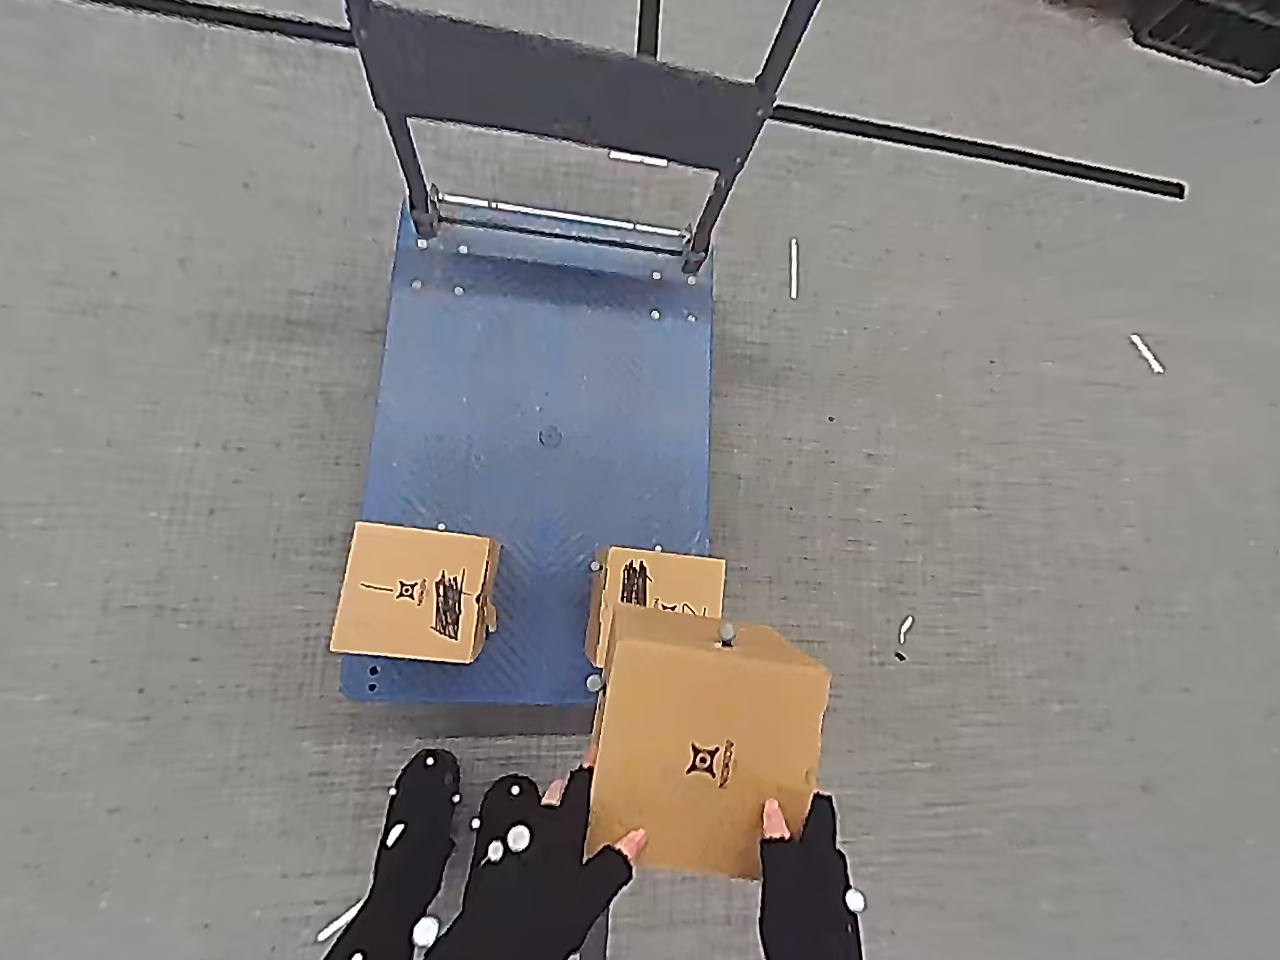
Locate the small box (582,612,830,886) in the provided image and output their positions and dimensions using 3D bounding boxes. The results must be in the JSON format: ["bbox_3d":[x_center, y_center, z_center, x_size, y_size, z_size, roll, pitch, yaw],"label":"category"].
[{"bbox_3d":[0.048,0.226,0.502,0.179,0.176,0.168,10,86,-4],"label":"small box"}]

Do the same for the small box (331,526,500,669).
[{"bbox_3d":[-0.304,0.164,0.776,0.179,0.176,0.168,9,79,-8],"label":"small box"}]
